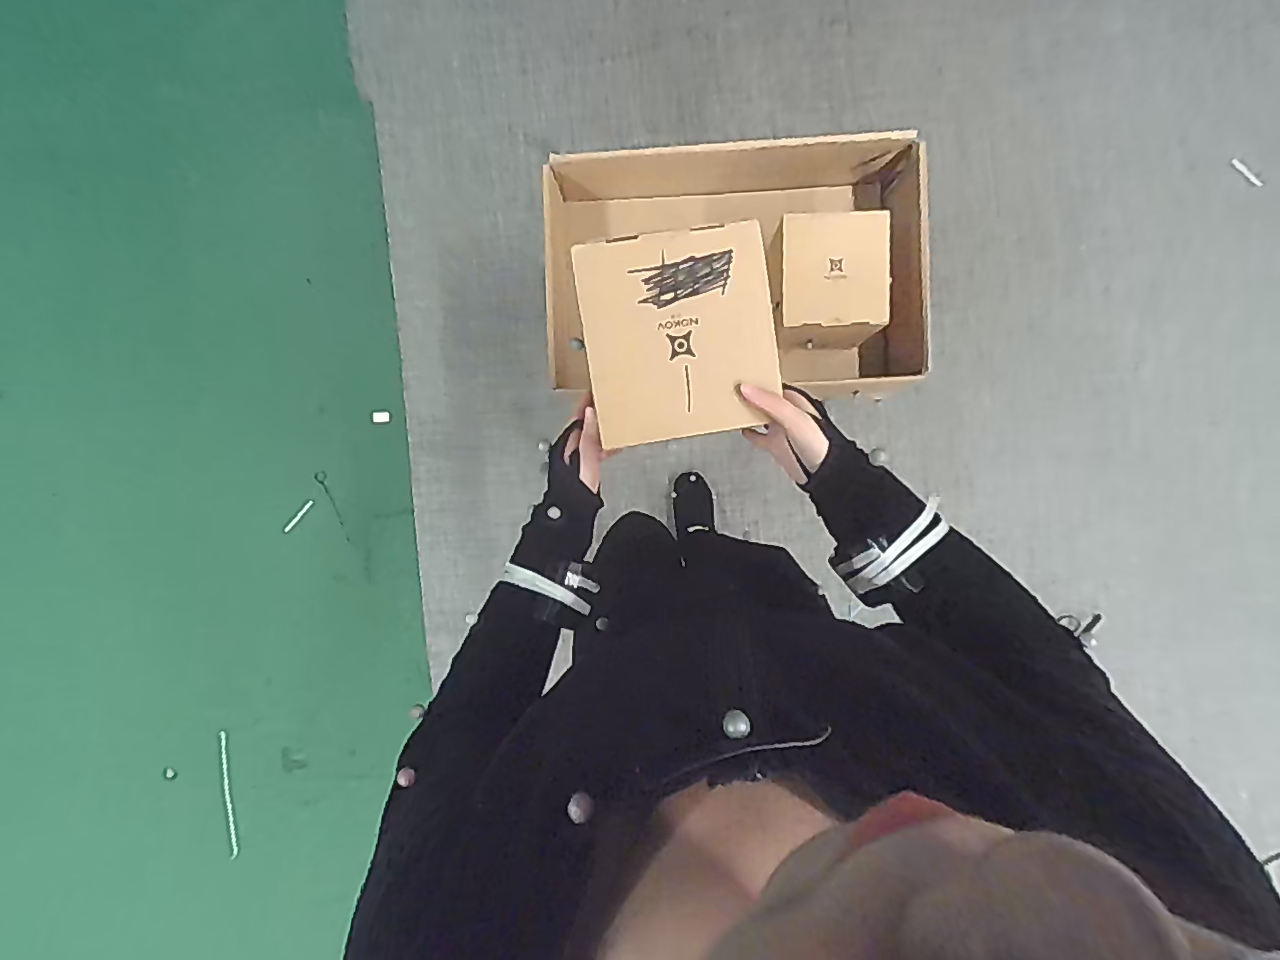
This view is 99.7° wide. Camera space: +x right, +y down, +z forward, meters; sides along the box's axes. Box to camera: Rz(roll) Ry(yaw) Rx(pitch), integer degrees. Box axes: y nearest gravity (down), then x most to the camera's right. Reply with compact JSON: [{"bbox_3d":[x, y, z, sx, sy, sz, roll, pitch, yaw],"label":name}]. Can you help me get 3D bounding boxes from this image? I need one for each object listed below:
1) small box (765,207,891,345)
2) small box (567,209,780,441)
[{"bbox_3d":[0.307,-0.334,0.912,0.168,0.176,0.179,0,92,4],"label":"small box"},{"bbox_3d":[0.026,-0.139,0.544,0.168,0.176,0.179,-10,93,-2],"label":"small box"}]
